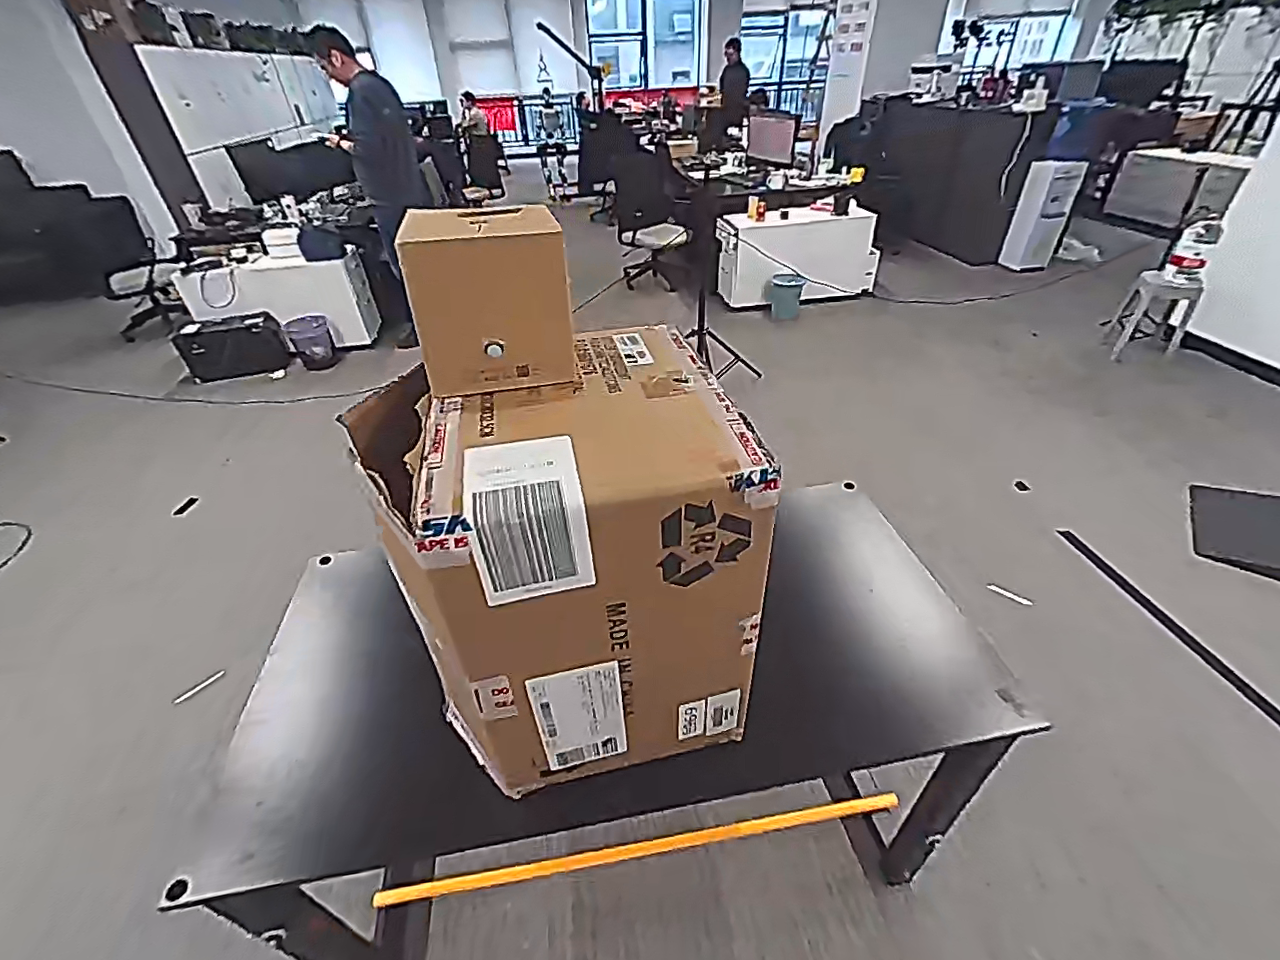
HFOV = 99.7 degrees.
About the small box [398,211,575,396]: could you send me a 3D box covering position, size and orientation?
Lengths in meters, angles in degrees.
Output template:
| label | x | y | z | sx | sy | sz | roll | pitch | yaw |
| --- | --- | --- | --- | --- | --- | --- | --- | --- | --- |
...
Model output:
| label | x | y | z | sx | sy | sz | roll | pitch | yaw |
| --- | --- | --- | --- | --- | --- | --- | --- | --- | --- |
| small box | -0.176 | -0.217 | 0.652 | 0.168 | 0.176 | 0.179 | -10 | 36 | -11 |
